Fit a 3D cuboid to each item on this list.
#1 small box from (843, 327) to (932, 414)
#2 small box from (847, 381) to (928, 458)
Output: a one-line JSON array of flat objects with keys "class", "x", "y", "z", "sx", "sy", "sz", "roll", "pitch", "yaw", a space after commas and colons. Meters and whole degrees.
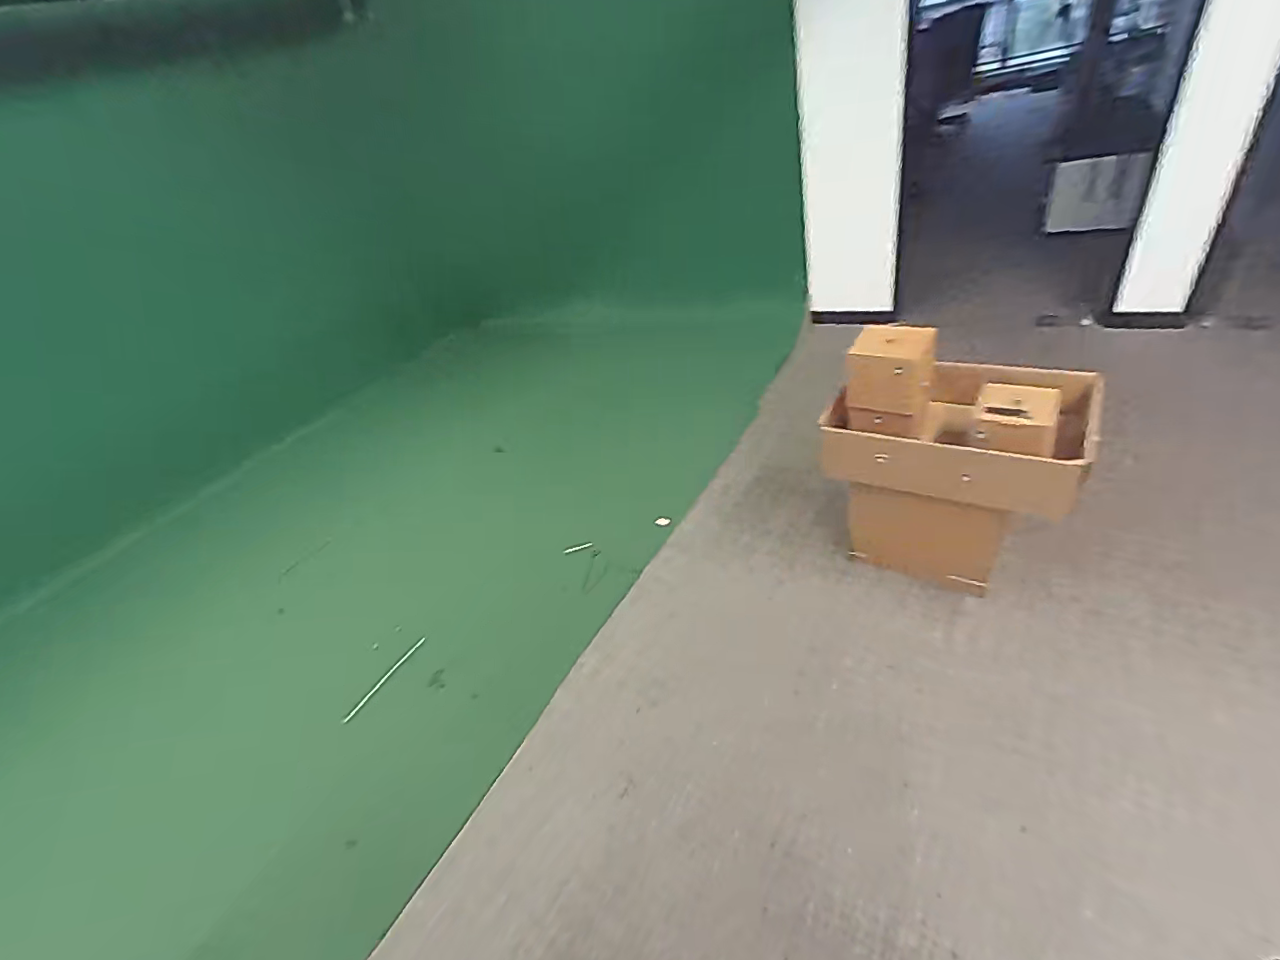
[{"class": "small box", "x": 0.666, "y": -0.296, "z": 1.462, "sx": 0.179, "sy": 0.176, "sz": 0.168, "roll": 16, "pitch": 49, "yaw": 35}, {"class": "small box", "x": 0.715, "y": -0.182, "z": 1.568, "sx": 0.179, "sy": 0.176, "sz": 0.168, "roll": 15, "pitch": 49, "yaw": 34}]
